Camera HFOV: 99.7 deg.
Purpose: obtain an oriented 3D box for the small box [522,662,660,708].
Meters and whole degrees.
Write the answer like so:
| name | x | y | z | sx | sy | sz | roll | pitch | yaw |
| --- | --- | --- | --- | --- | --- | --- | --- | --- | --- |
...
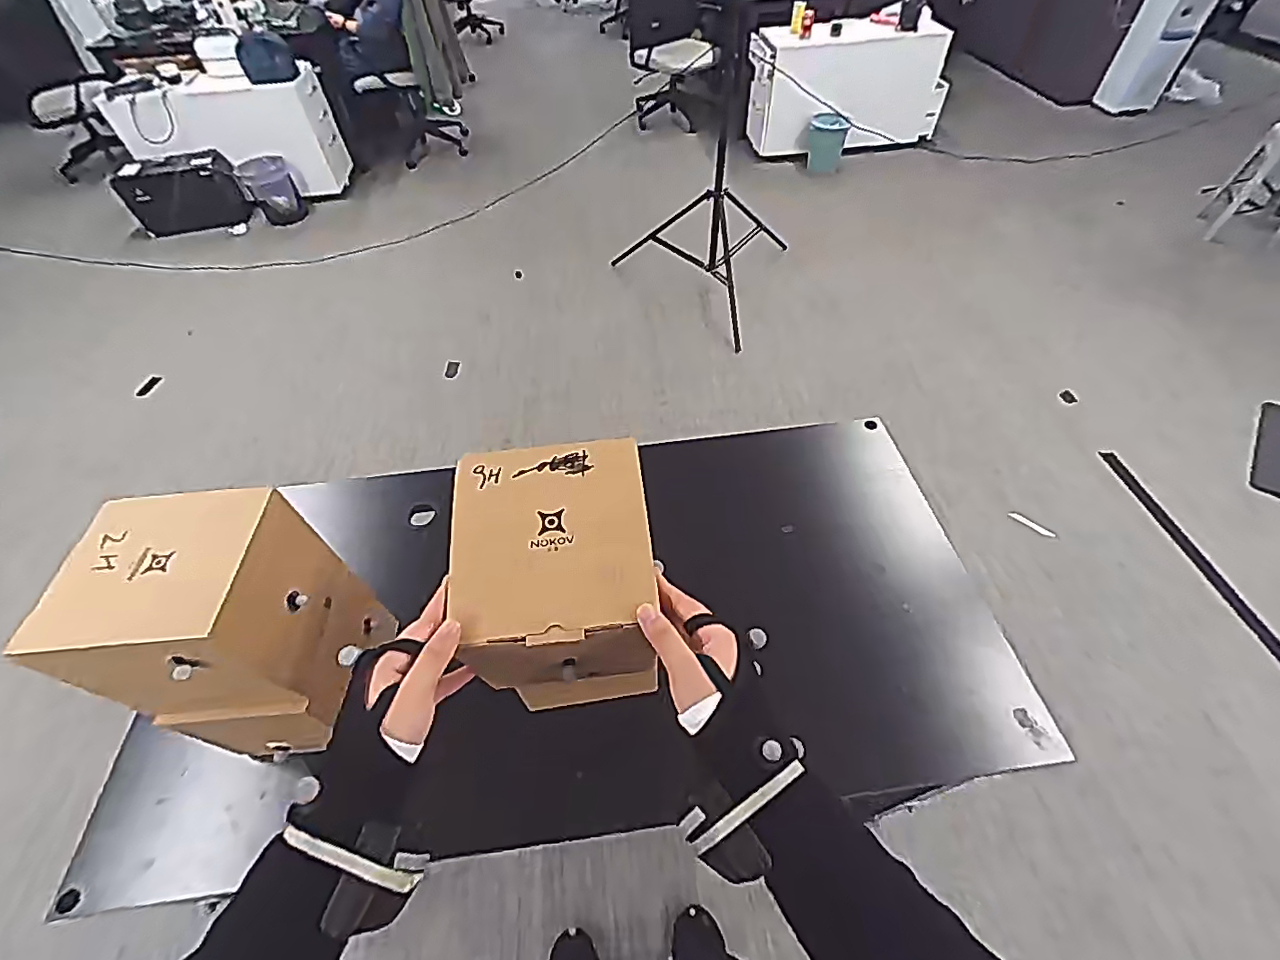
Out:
| name | x | y | z | sx | sy | sz | roll | pitch | yaw |
| --- | --- | --- | --- | --- | --- | --- | --- | --- | --- |
| small box | -0.072 | 0.186 | 0.715 | 0.179 | 0.176 | 0.168 | -8 | 52 | -4 |

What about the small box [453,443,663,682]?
| name | x | y | z | sx | sy | sz | roll | pitch | yaw |
| --- | --- | --- | --- | --- | --- | --- | --- | --- | --- |
| small box | -0.069 | 0.088 | 0.518 | 0.168 | 0.176 | 0.179 | -6 | 61 | -3 |

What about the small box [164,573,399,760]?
| name | x | y | z | sx | sy | sz | roll | pitch | yaw |
| --- | --- | --- | --- | --- | --- | --- | --- | --- | --- |
| small box | -0.431 | 0.240 | 0.692 | 0.168 | 0.176 | 0.179 | -5 | 52 | 0 |

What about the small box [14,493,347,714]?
| name | x | y | z | sx | sy | sz | roll | pitch | yaw |
| --- | --- | --- | --- | --- | --- | --- | --- | --- | --- |
| small box | -0.444 | 0.133 | 0.567 | 0.179 | 0.176 | 0.168 | -5 | 51 | 0 |
